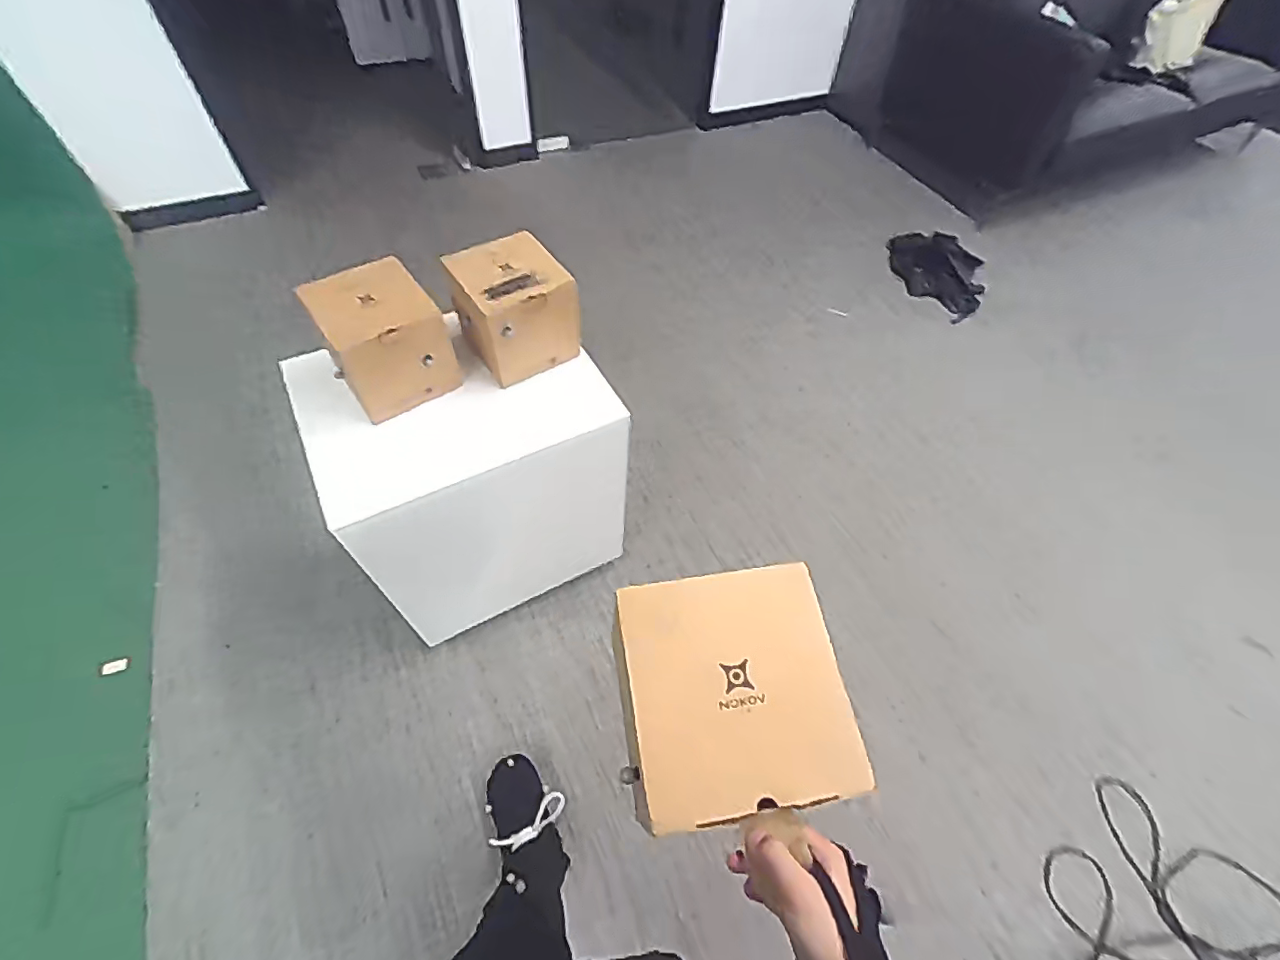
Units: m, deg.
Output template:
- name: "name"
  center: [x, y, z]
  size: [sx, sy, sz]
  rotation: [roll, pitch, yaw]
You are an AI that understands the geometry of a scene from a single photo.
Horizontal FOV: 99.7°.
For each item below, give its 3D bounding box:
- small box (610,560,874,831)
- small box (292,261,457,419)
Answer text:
- name: "small box"
  center: [0.067, 0.190, 0.481]
  size: [0.168, 0.176, 0.179]
  rotation: [-7, 63, -8]
- name: "small box"
  center: [-0.428, -0.223, 0.897]
  size: [0.168, 0.176, 0.179]
  rotation: [-32, 63, -24]
